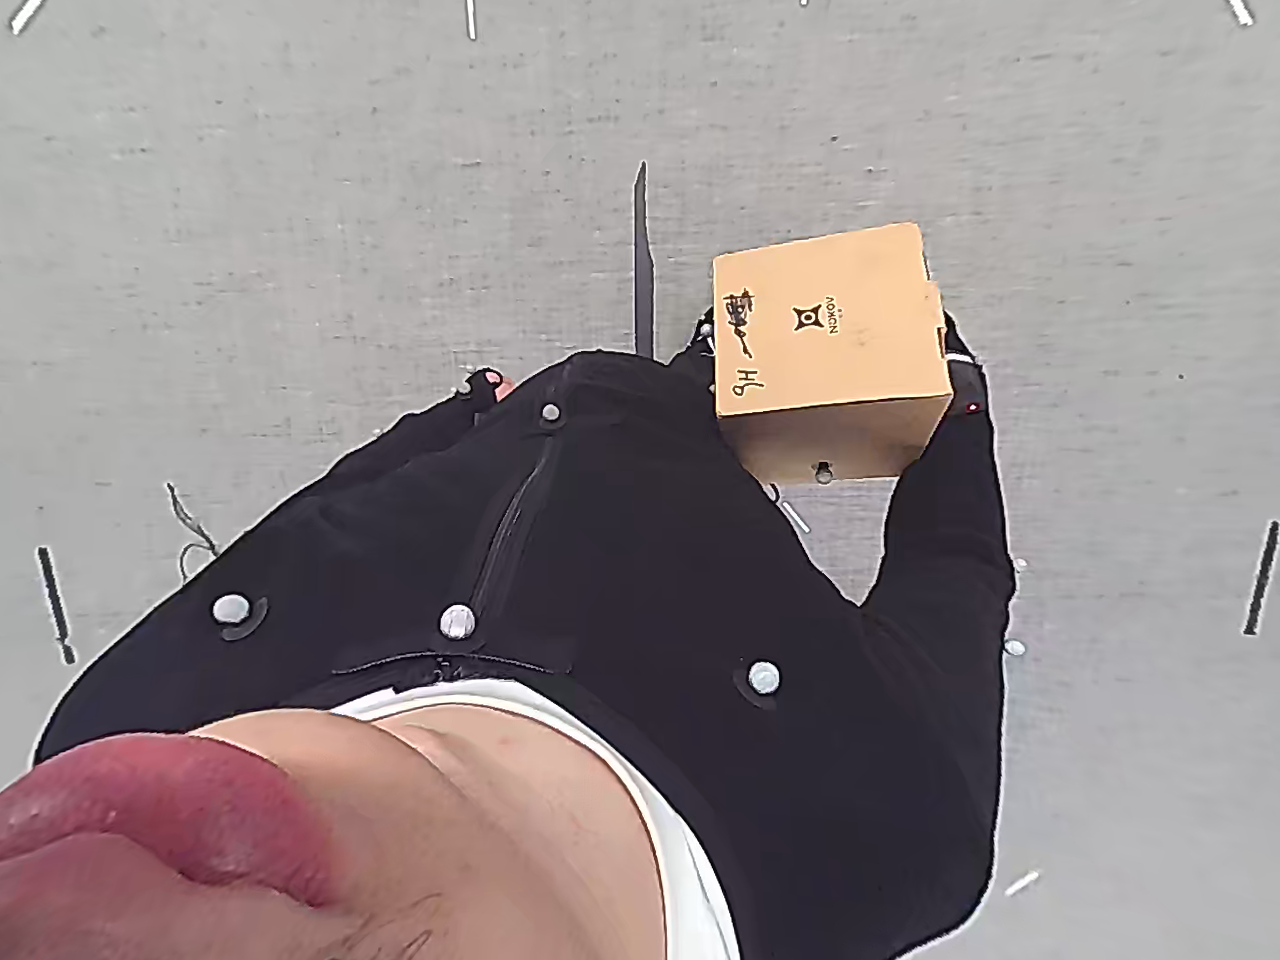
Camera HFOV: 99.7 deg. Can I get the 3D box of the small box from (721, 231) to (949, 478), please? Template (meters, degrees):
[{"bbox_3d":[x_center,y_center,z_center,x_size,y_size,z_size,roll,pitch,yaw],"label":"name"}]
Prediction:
[{"bbox_3d":[0.174,-0.108,0.532,0.179,0.176,0.168,-3,67,14],"label":"small box"}]
